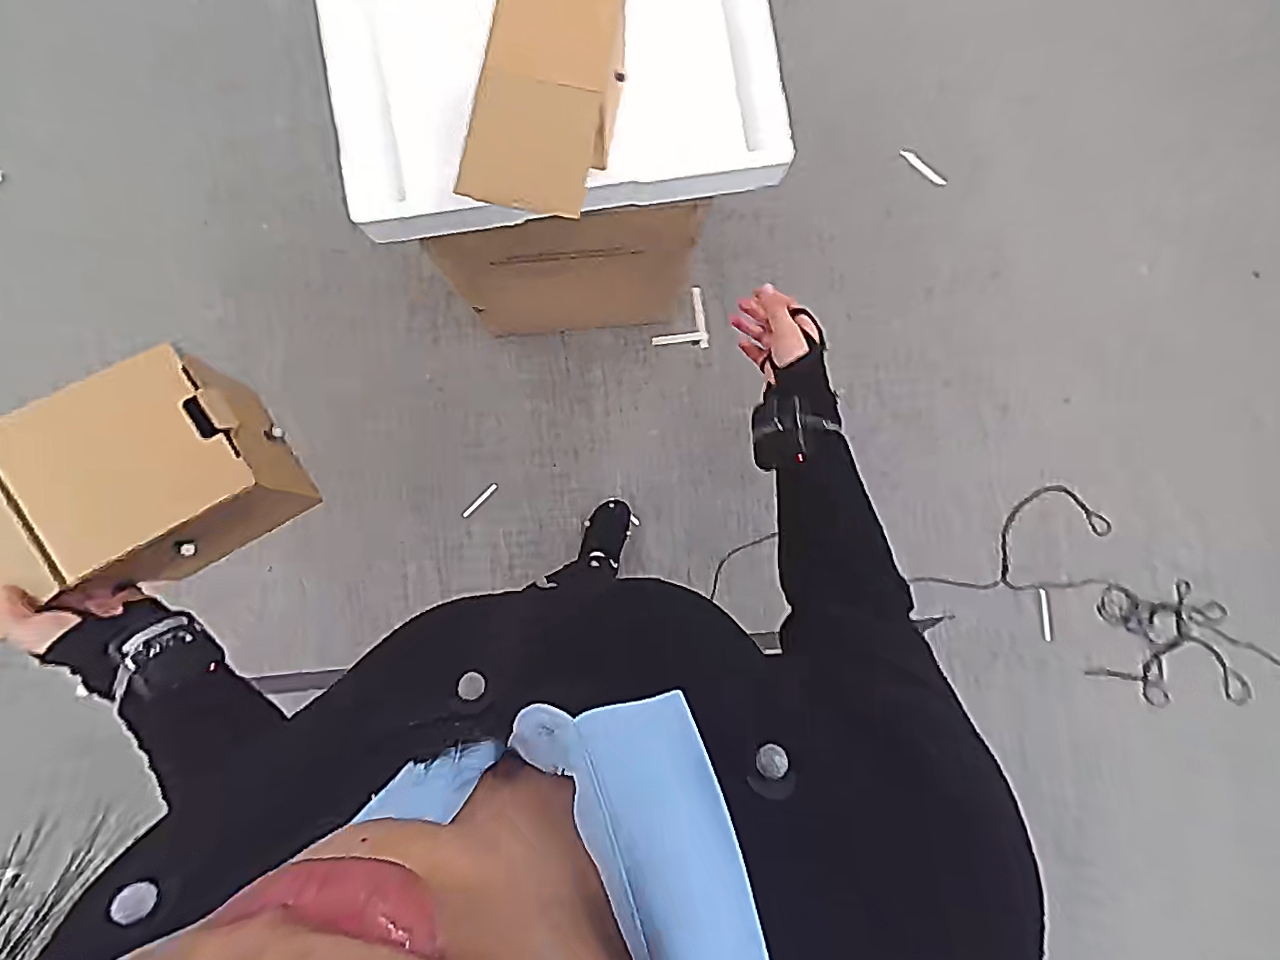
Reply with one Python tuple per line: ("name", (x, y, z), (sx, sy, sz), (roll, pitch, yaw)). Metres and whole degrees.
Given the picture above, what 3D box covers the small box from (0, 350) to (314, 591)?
("small box", (-0.497, -0.002, 0.575), (0.179, 0.176, 0.168), (-34, 91, -13))
